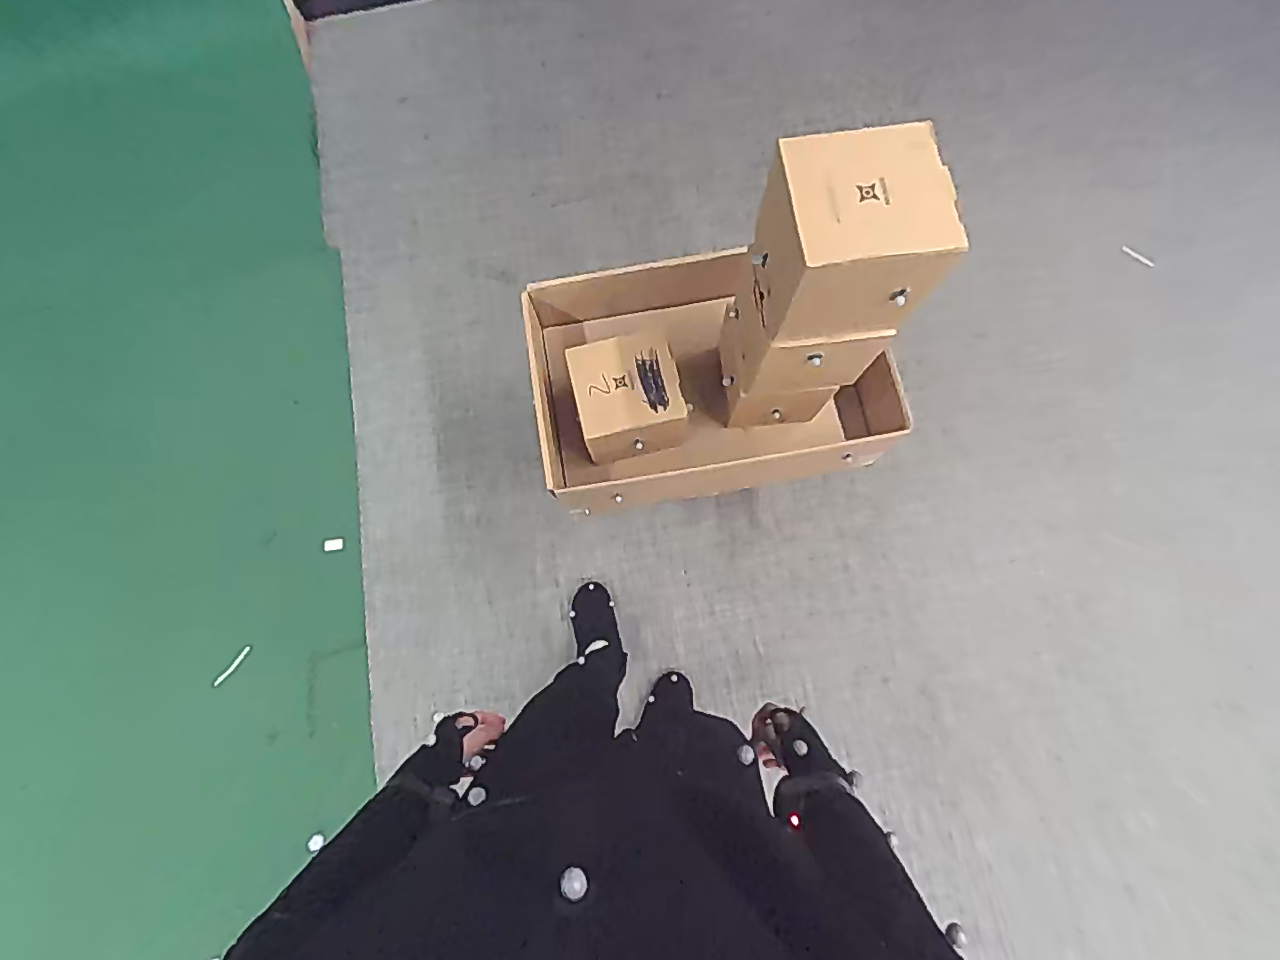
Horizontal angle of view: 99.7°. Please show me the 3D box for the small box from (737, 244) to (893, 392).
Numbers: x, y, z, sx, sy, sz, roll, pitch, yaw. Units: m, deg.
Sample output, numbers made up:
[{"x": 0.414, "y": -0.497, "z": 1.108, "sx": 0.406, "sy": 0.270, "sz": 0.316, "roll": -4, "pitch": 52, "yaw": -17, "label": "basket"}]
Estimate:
[{"x": 0.247, "y": -0.244, "z": 0.817, "sx": 0.179, "sy": 0.176, "sz": 0.168, "roll": -7, "pitch": 76, "yaw": 0, "label": "small box"}]

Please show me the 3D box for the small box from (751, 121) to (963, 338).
[{"x": 0.247, "y": -0.294, "z": 0.661, "sx": 0.179, "sy": 0.176, "sz": 0.168, "roll": -7, "pitch": 75, "yaw": 0, "label": "small box"}]

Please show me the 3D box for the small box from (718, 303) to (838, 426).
[{"x": 0.239, "y": -0.205, "z": 0.977, "sx": 0.168, "sy": 0.176, "sz": 0.179, "roll": -5, "pitch": 75, "yaw": 1, "label": "small box"}]
